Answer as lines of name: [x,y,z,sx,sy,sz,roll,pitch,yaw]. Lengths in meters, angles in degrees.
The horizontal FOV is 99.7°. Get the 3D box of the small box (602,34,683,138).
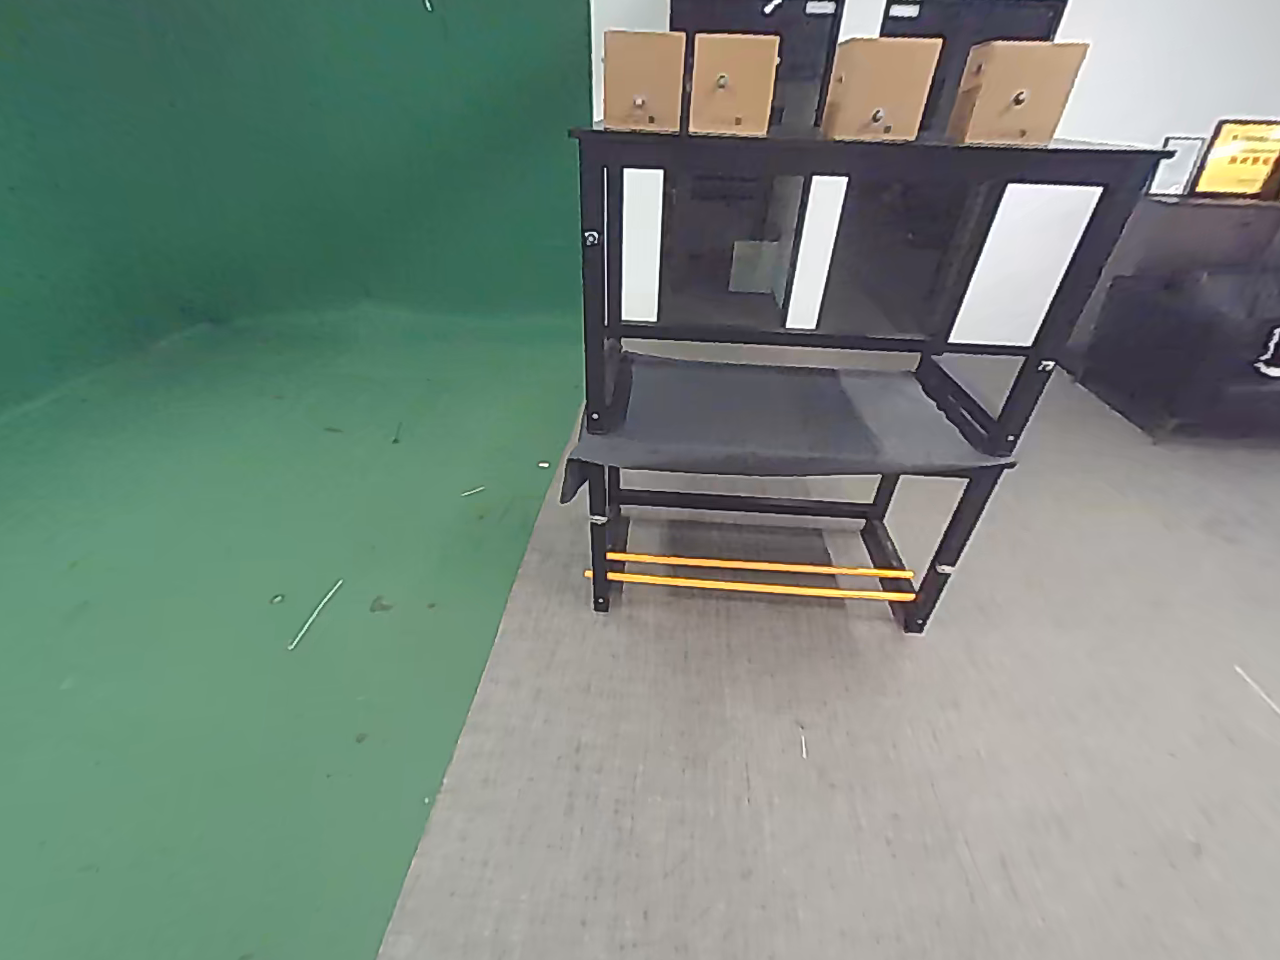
small box: [0.005,-0.862,1.191,0.168,0.176,0.179,3,36,1]

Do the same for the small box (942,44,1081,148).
small box: [0.764,-0.801,1.136,0.168,0.176,0.179,9,35,9]
